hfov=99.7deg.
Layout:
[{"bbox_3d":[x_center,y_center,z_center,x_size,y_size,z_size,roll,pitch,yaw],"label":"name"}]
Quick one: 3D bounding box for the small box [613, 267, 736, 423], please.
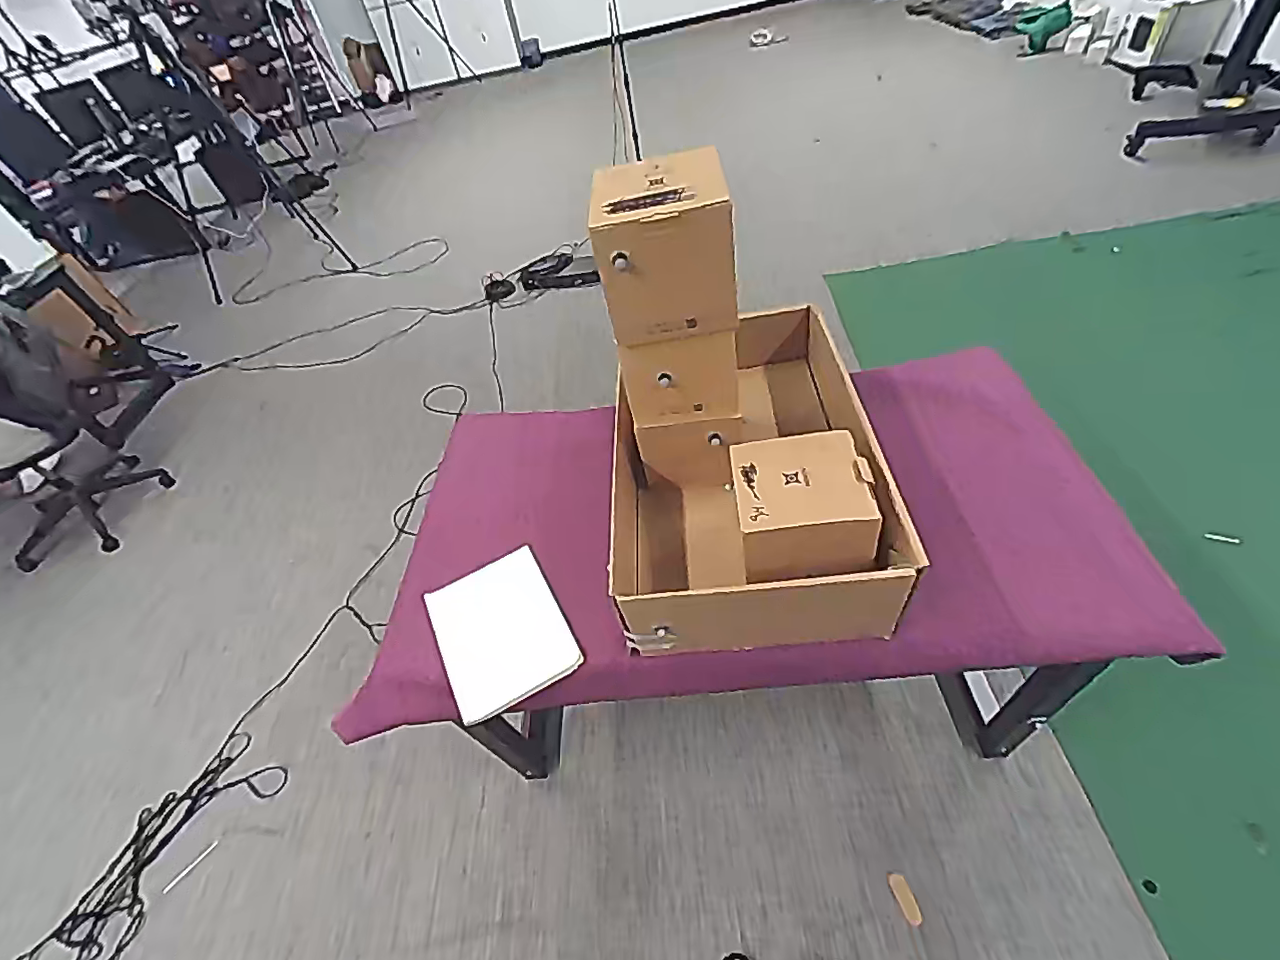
[{"bbox_3d":[0.059,-0.204,0.854,0.168,0.176,0.179,-6,49,9],"label":"small box"}]
